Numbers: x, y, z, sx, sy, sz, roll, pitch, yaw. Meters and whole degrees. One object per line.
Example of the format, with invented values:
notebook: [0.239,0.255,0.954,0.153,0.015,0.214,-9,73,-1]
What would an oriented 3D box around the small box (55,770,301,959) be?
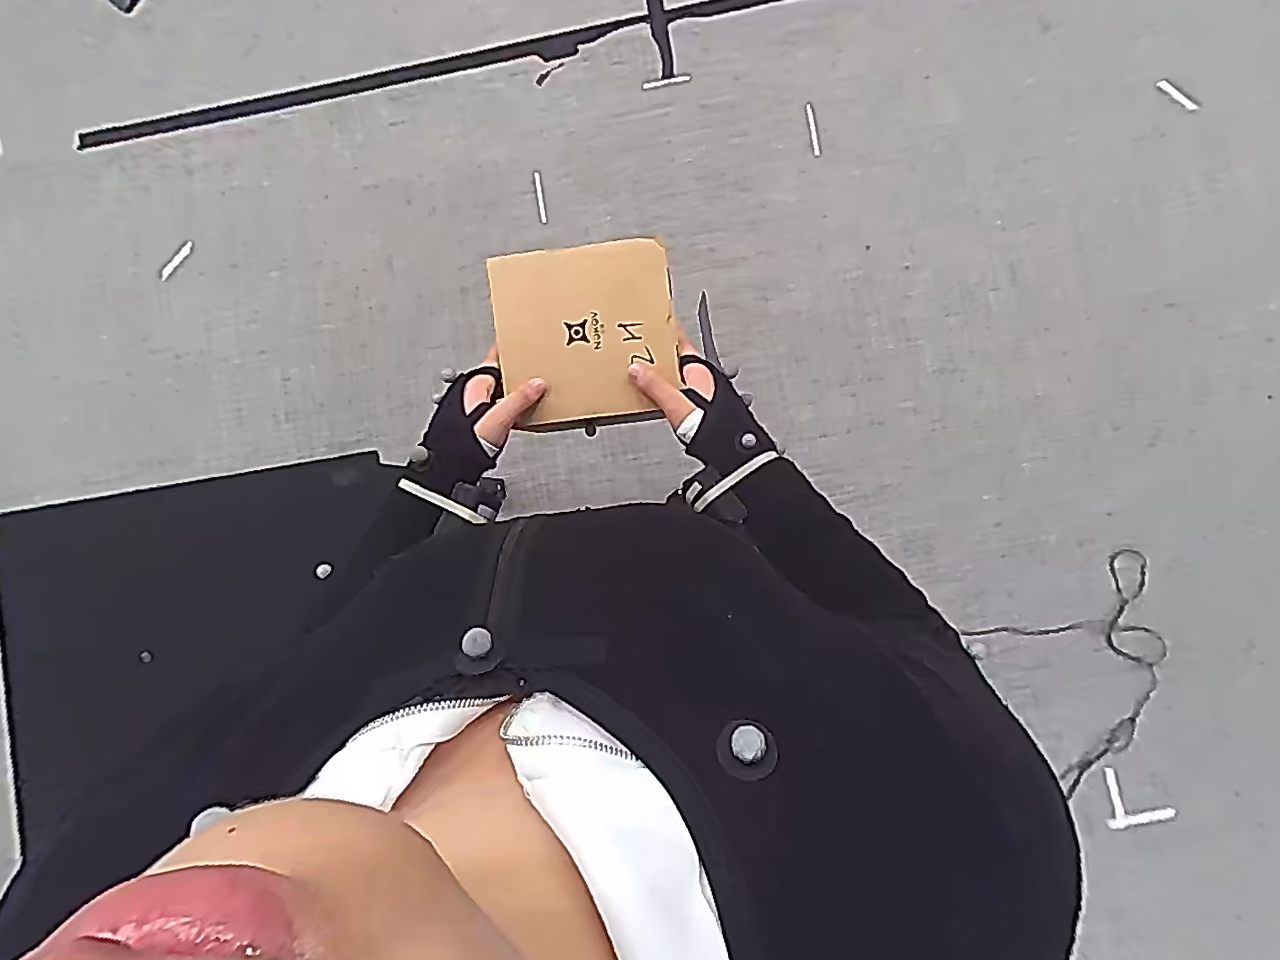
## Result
small box: [-0.574,0.497,0.692,0.179,0.176,0.168,-5,87,1]

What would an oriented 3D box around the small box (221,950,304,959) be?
small box: [-0.546,0.744,0.681,0.179,0.176,0.168,-10,86,2]

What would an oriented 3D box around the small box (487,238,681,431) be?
small box: [-0.052,-0.146,0.601,0.179,0.176,0.168,-7,94,0]
